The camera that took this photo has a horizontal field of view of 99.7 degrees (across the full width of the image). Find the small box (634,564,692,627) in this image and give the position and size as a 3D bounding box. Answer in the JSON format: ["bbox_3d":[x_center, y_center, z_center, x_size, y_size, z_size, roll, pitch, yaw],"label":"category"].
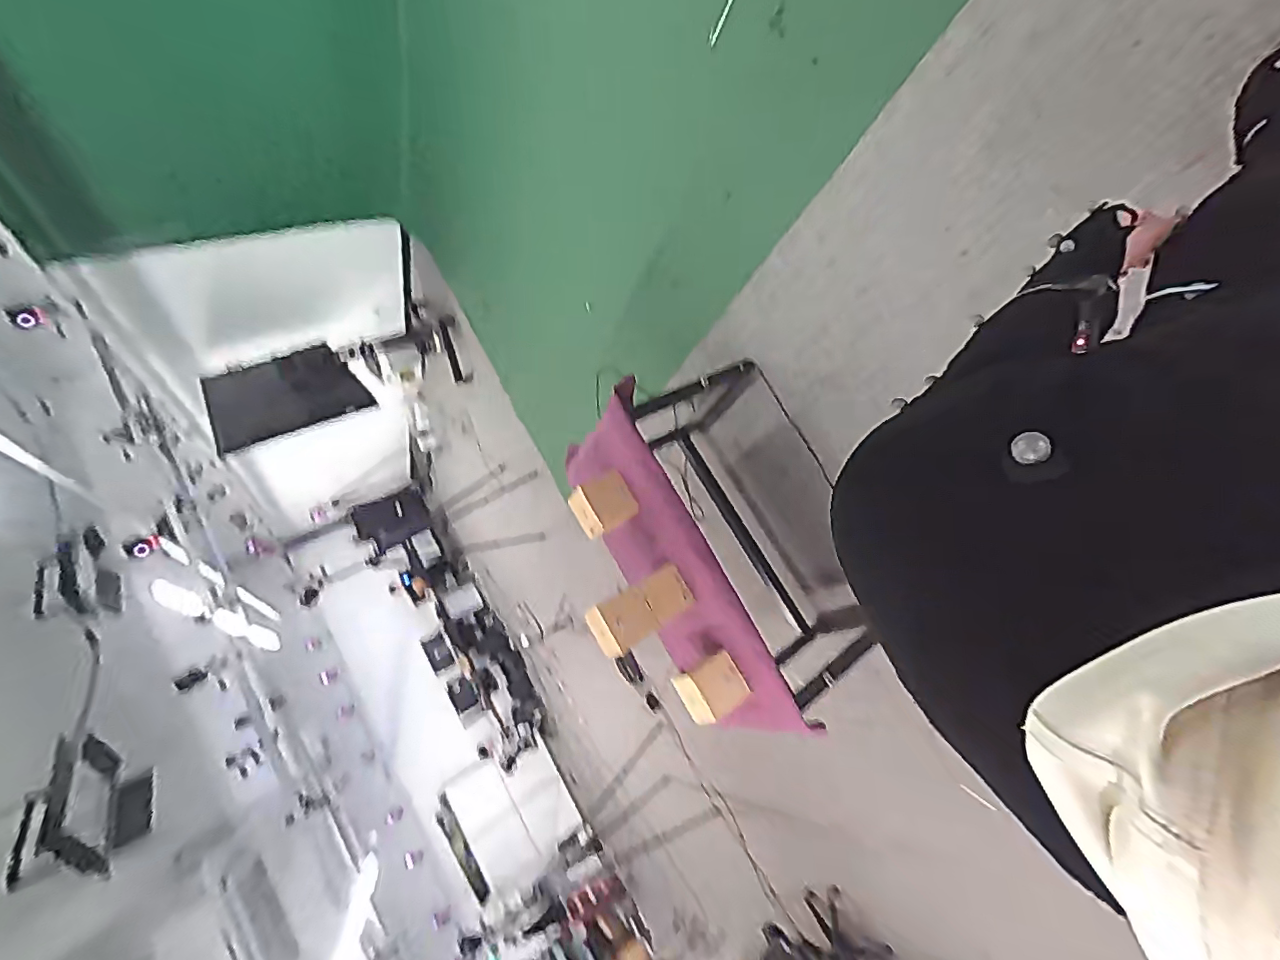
[{"bbox_3d":[0.062,0.417,1.925,0.168,0.176,0.179,59,151,10],"label":"small box"}]

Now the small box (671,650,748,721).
[{"bbox_3d":[0.241,0.708,1.863,0.168,0.176,0.179,58,150,10],"label":"small box"}]

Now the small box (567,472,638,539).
[{"bbox_3d":[-0.138,0.087,1.985,0.179,0.176,0.168,59,151,9],"label":"small box"}]

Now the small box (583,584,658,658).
[{"bbox_3d":[-0.064,0.479,1.843,0.179,0.176,0.168,59,150,10],"label":"small box"}]
